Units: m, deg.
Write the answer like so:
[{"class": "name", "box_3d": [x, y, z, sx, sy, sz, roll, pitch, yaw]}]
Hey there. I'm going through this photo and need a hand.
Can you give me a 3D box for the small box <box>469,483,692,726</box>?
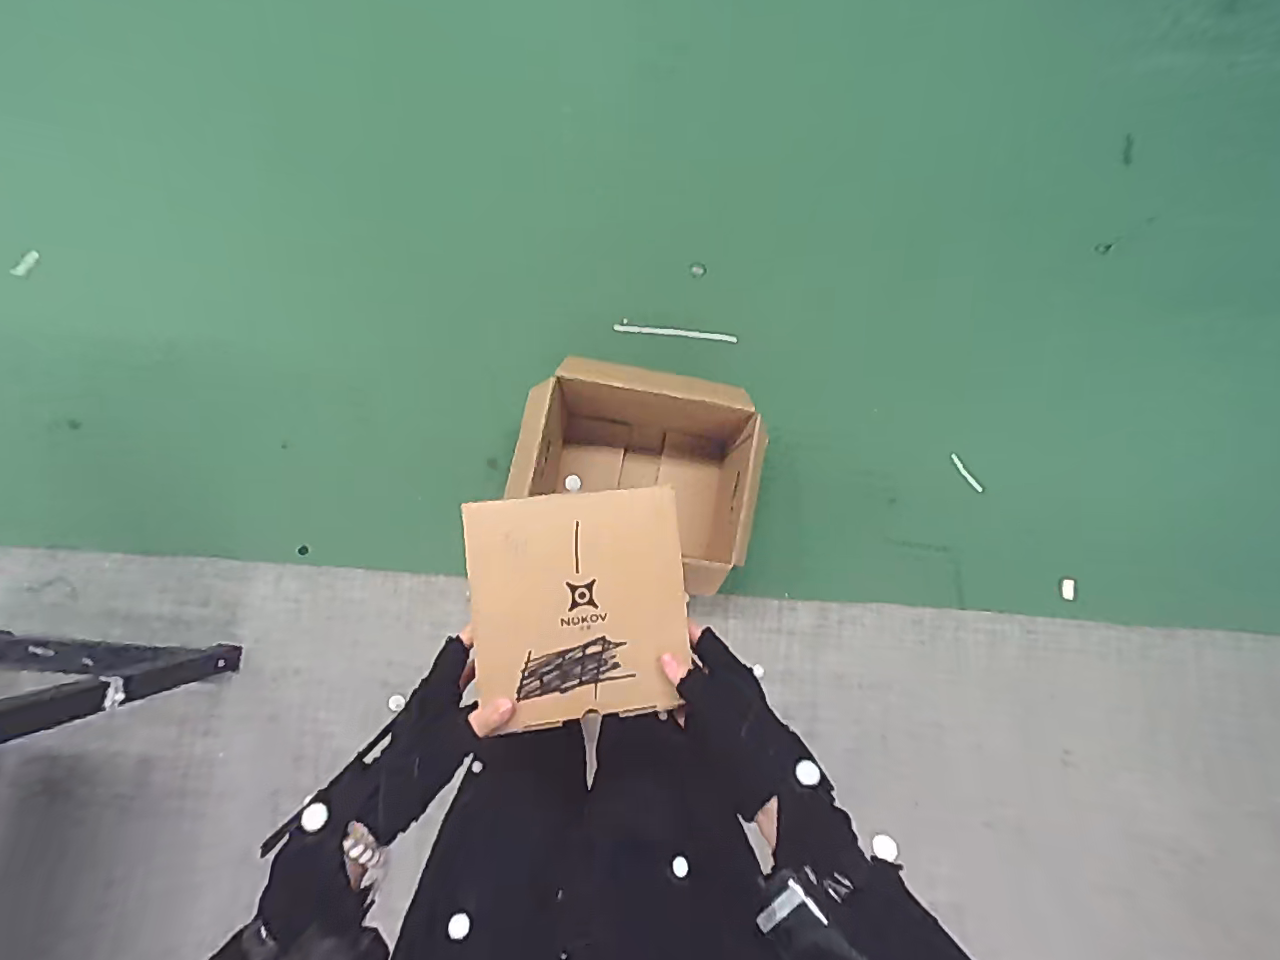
[{"class": "small box", "box_3d": [-0.056, 0.096, 0.497, 0.168, 0.176, 0.179, -4, 88, -10]}]
